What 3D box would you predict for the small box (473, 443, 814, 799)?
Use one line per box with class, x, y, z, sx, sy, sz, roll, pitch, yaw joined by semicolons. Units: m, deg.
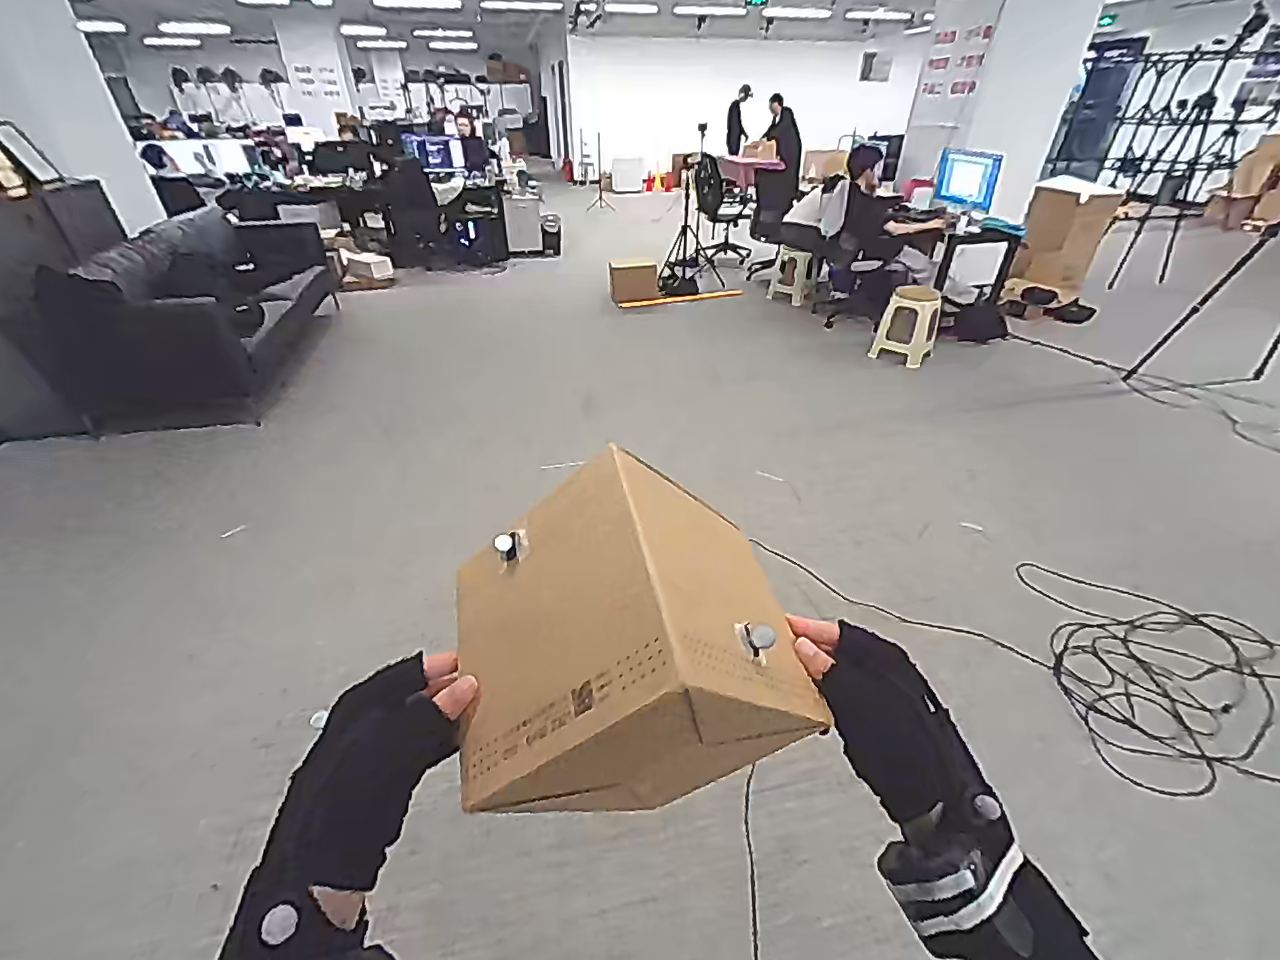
small box;-0.001;0.113;0.391;0.168;0.179;0.176;-38;44;20
